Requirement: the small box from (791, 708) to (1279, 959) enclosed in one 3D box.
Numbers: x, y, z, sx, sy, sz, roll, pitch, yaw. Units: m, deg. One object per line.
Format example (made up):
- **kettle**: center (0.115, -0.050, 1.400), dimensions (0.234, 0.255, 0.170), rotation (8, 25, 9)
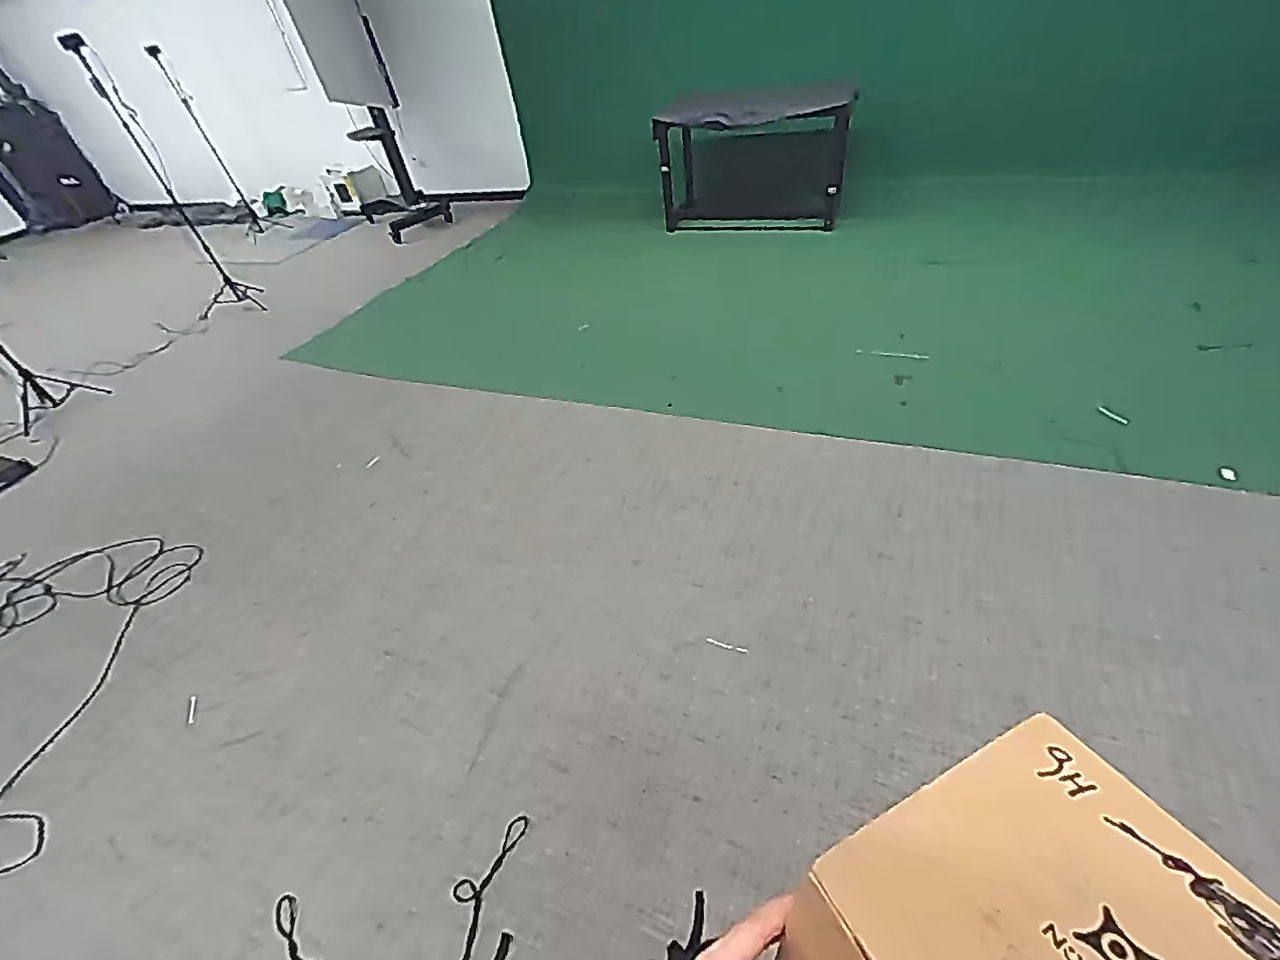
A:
- **small box**: center (0.195, 0.266, 0.279), dimensions (0.179, 0.176, 0.168), rotation (-19, 38, -19)
